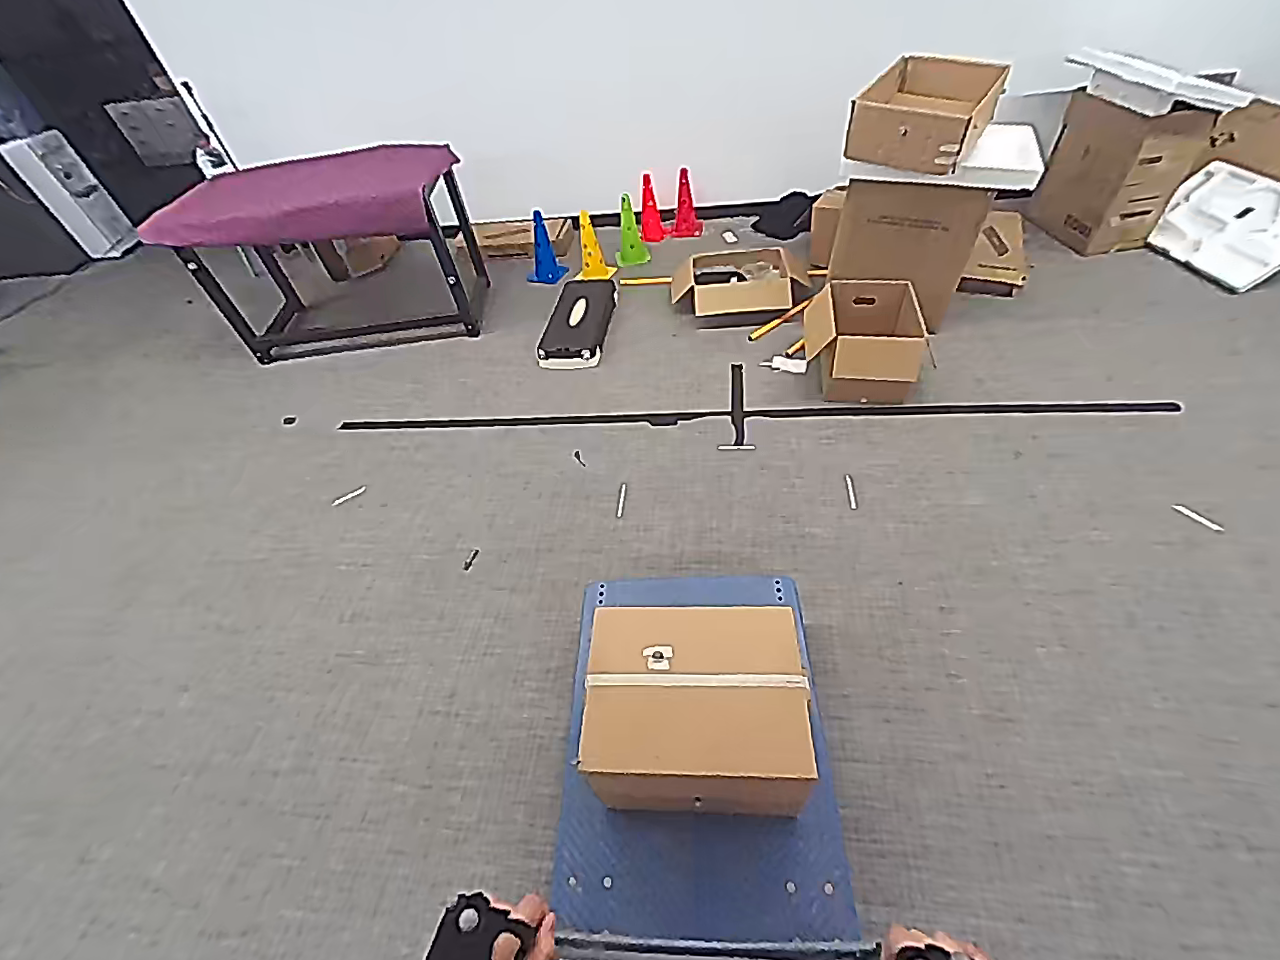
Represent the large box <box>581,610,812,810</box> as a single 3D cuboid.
[{"bbox_3d":[0.117,0.489,1.135,0.408,0.320,0.320,-3,47,7],"label":"large box"}]
